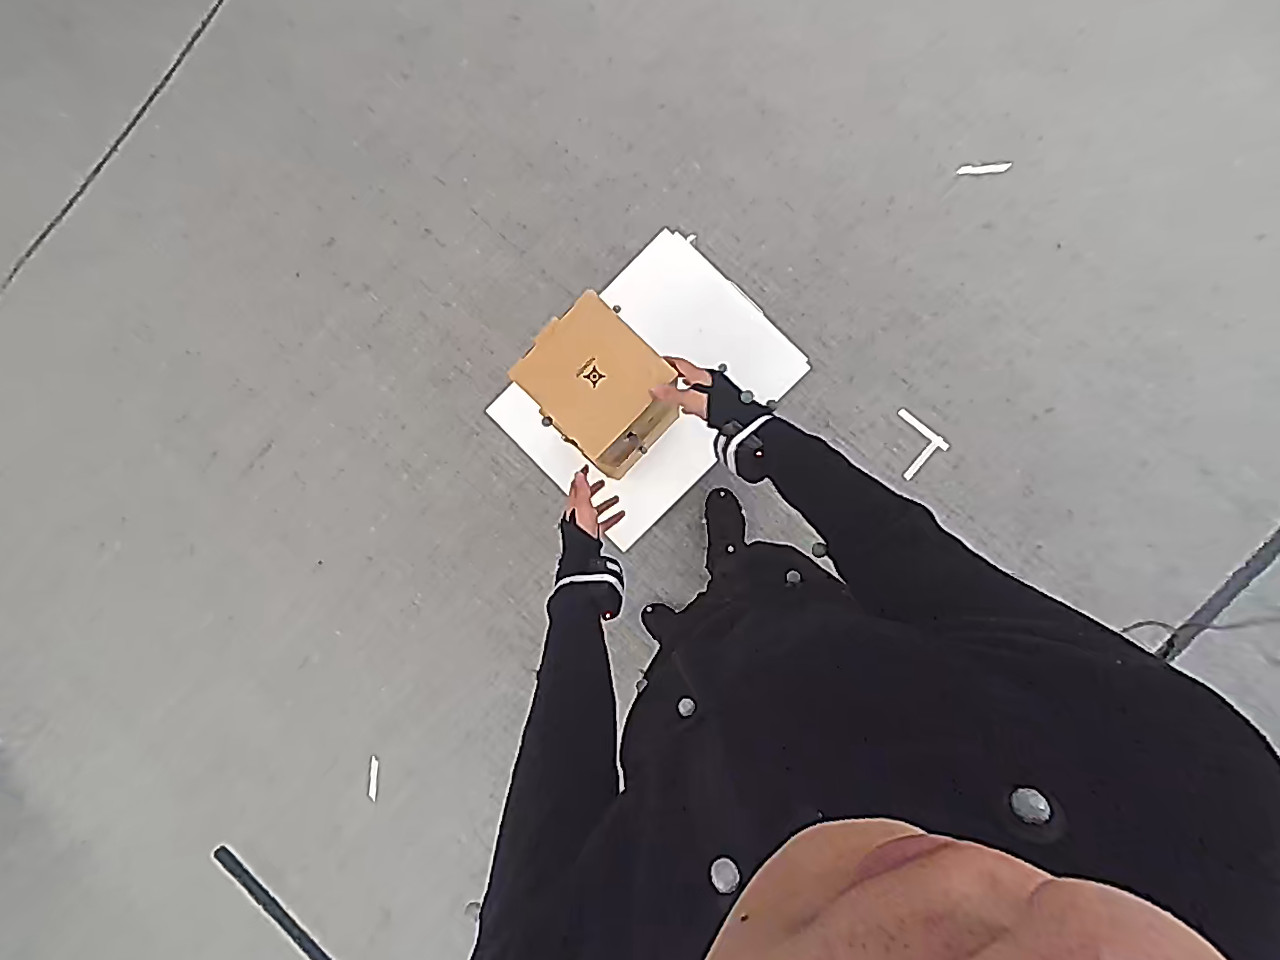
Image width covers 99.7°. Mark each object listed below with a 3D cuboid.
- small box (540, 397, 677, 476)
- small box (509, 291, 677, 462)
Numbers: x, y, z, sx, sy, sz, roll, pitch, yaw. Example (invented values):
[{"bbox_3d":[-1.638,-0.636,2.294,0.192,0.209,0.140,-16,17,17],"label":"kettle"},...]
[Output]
[{"bbox_3d":[-0.047,-0.120,0.977,0.168,0.176,0.179,43,90,4],"label":"small box"},{"bbox_3d":[-0.058,-0.142,0.815,0.179,0.176,0.168,44,91,5],"label":"small box"}]
